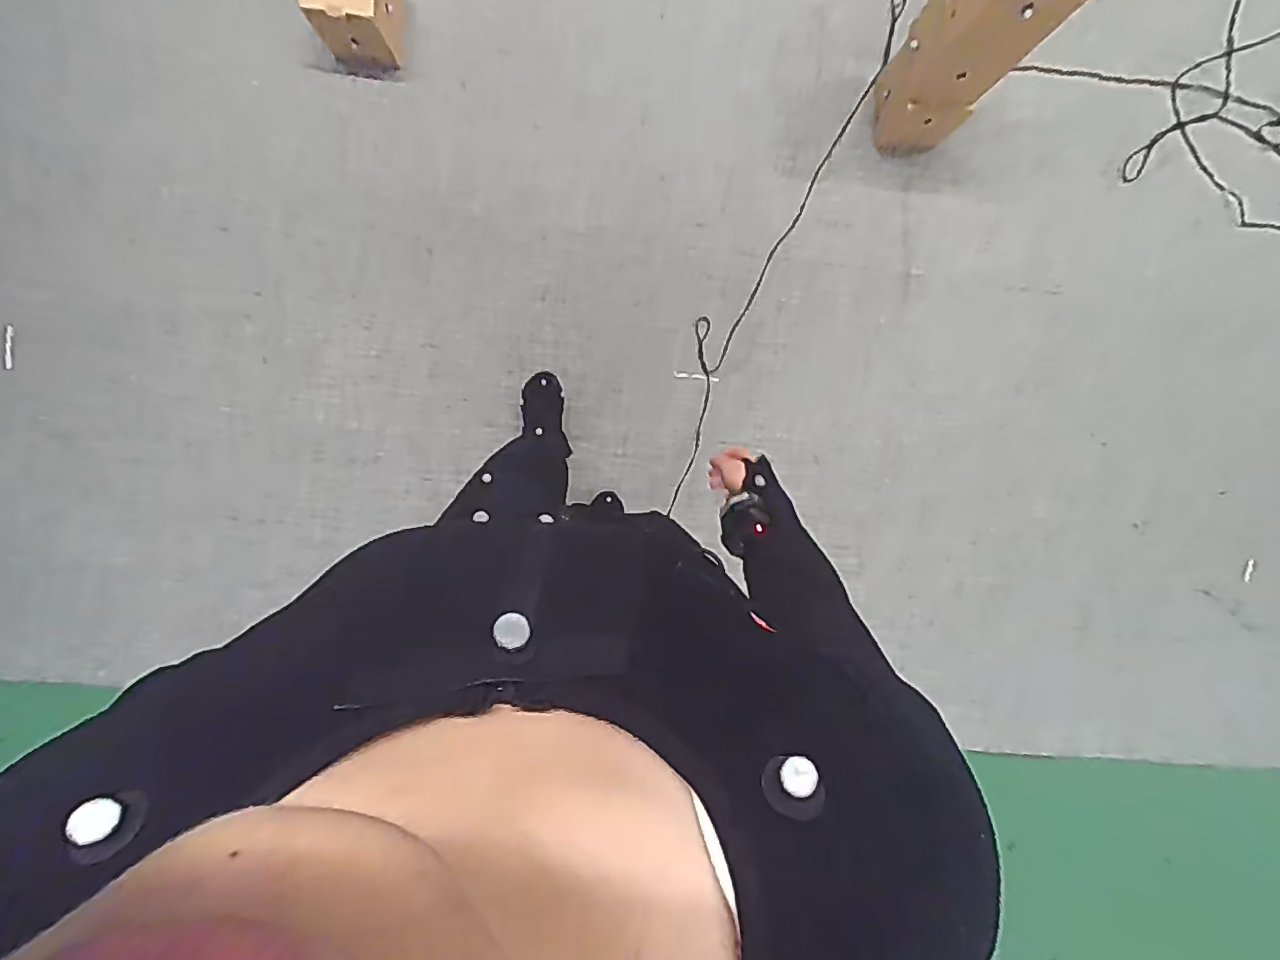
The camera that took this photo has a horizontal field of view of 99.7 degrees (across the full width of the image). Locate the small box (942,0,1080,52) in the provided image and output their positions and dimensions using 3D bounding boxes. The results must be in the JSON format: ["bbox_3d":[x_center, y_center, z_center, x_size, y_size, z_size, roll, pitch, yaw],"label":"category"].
[{"bbox_3d":[0.707,-0.950,1.019,0.179,0.176,0.168,0,94,-2],"label":"small box"}]

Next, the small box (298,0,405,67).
[{"bbox_3d":[-0.671,-1.122,1.273,0.168,0.176,0.179,7,94,-3],"label":"small box"}]

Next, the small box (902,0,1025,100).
[{"bbox_3d":[0.704,-0.968,1.181,0.179,0.176,0.168,2,94,-2],"label":"small box"}]

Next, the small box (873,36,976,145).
[{"bbox_3d":[0.700,-0.962,1.346,0.179,0.176,0.168,-2,95,-3],"label":"small box"}]
